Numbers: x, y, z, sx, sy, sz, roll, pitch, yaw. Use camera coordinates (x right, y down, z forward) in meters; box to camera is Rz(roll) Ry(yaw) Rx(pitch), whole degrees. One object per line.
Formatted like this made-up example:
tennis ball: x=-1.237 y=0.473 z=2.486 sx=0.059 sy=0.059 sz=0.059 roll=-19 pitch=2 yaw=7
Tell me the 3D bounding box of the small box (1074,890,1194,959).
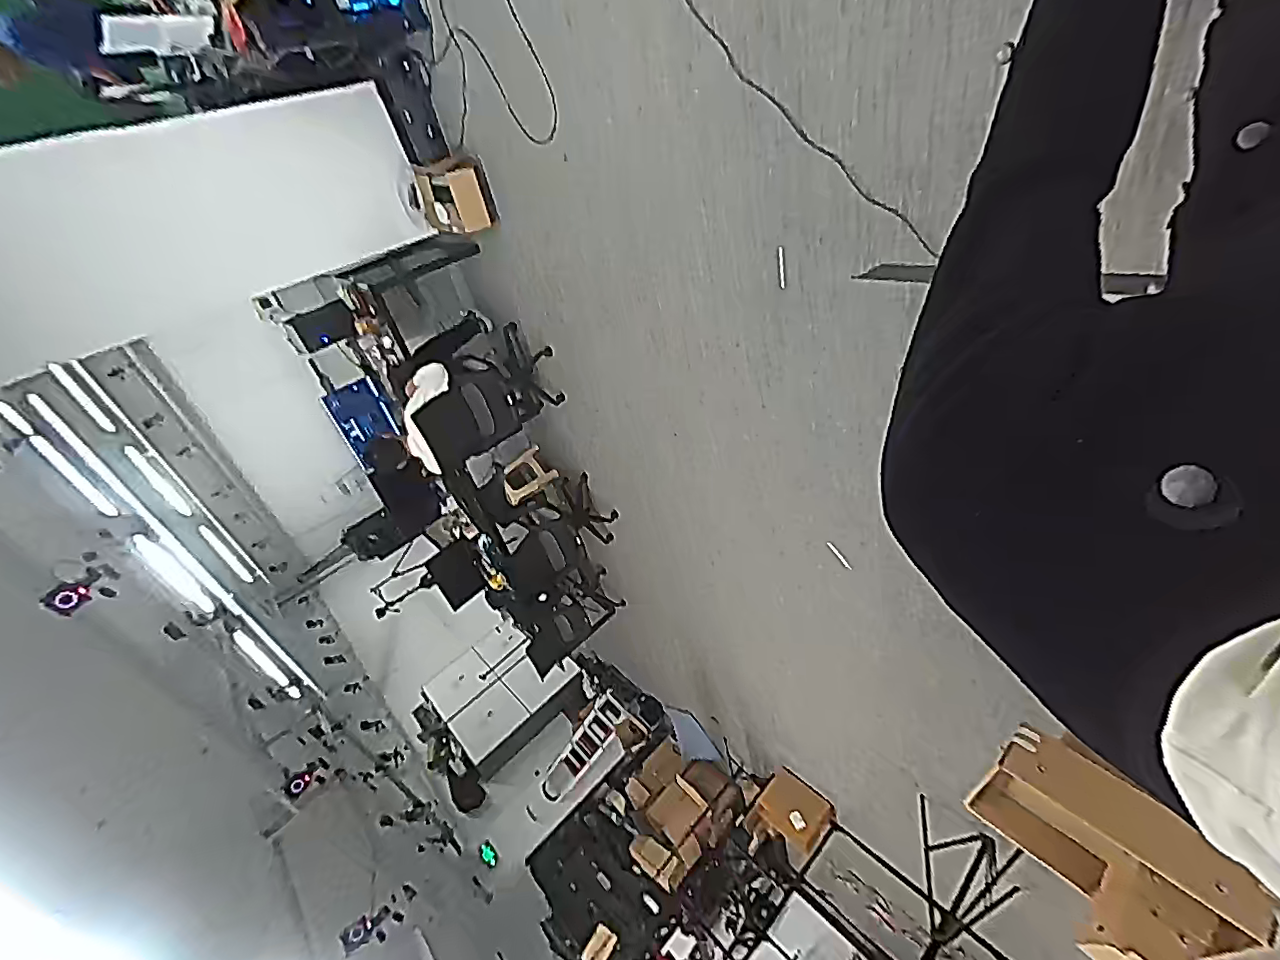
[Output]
small box: x=1.338 y=1.254 z=1.463 sx=0.168 sy=0.176 sz=0.179 roll=36 pitch=150 yaw=29
